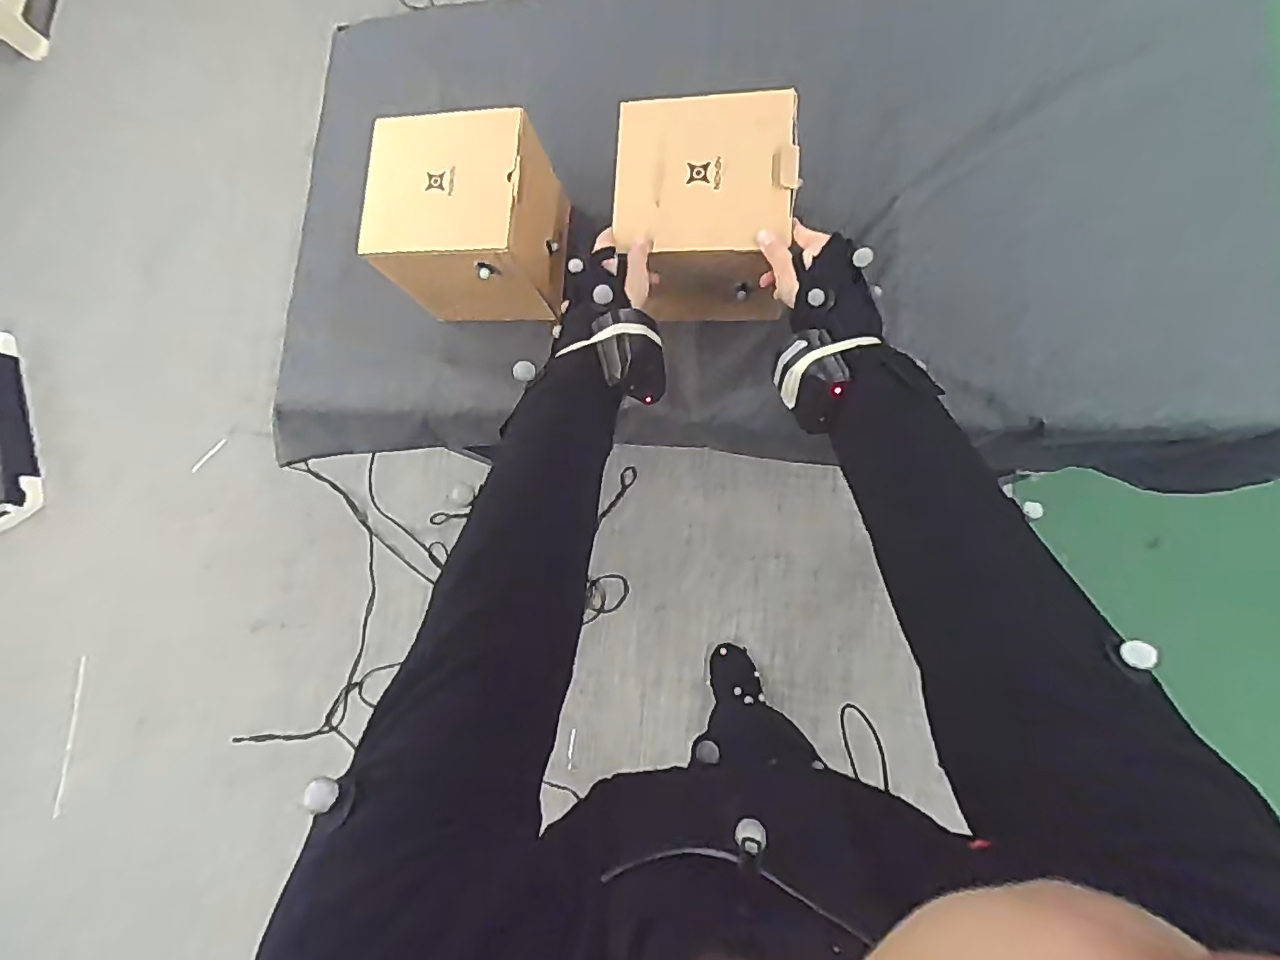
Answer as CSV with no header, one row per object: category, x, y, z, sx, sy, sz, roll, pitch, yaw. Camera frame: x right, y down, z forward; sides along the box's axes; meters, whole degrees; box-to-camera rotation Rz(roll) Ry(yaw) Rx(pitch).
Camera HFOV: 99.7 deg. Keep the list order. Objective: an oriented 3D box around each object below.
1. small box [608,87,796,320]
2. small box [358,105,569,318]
small box,0.074,-0.289,0.601,0.179,0.176,0.168,2,83,12
small box,-0.200,-0.309,0.657,0.179,0.176,0.168,2,81,10
